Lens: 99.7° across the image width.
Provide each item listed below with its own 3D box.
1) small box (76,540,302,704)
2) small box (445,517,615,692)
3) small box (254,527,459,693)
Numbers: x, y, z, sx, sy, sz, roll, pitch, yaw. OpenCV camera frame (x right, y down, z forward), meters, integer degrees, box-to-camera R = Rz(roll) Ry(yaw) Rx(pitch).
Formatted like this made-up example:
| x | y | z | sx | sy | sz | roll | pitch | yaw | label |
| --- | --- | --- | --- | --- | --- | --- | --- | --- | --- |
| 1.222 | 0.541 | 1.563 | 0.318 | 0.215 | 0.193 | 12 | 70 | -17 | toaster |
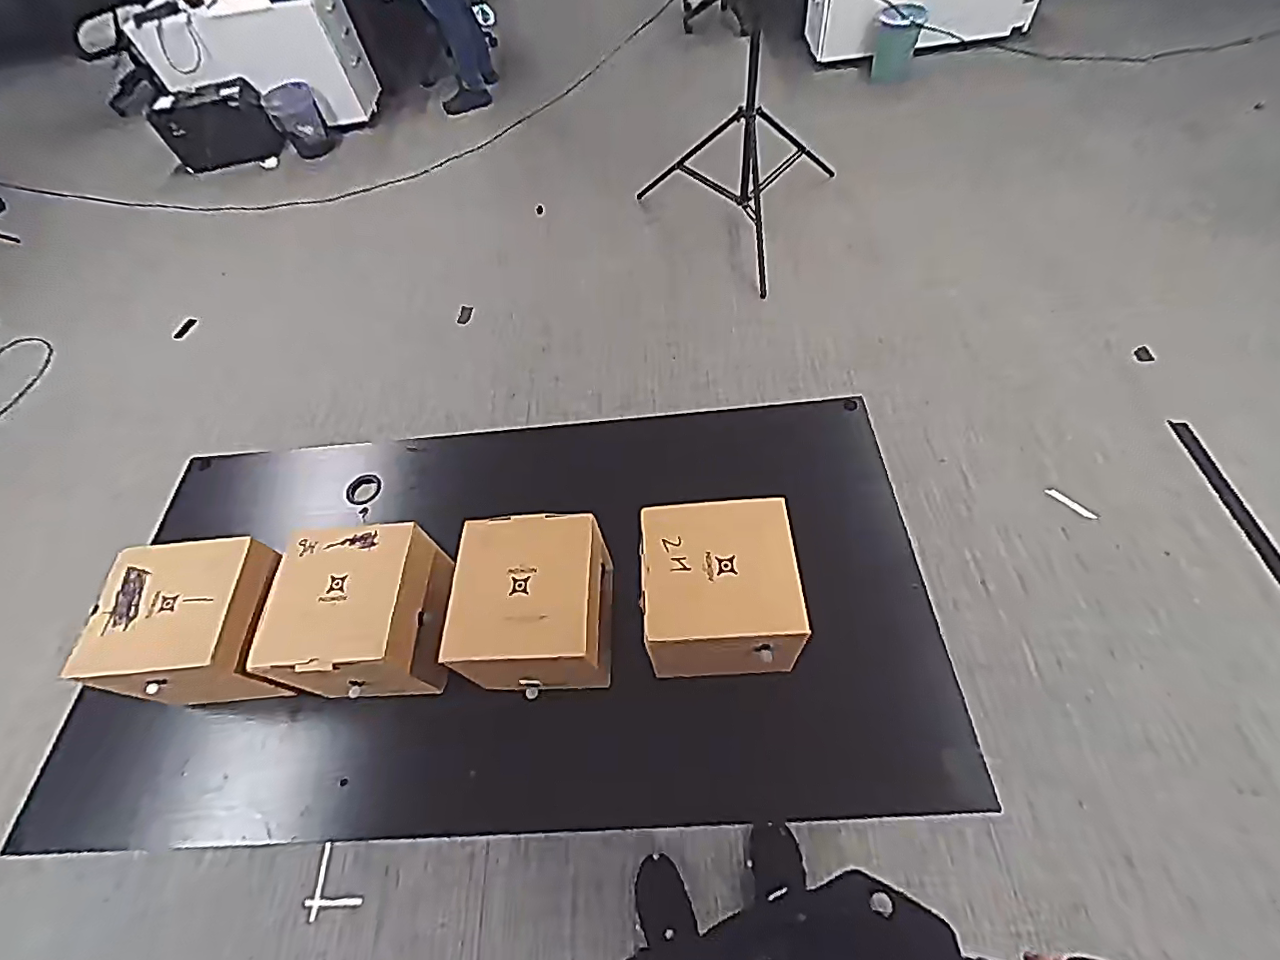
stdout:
| x | y | z | sx | sy | sz | roll | pitch | yaw | label |
| --- | --- | --- | --- | --- | --- | --- | --- | --- | --- |
| -0.567 | 0.198 | 0.732 | 0.179 | 0.176 | 0.168 | -6 | 58 | 2 | small box |
| -0.128 | 0.166 | 0.703 | 0.168 | 0.176 | 0.179 | -5 | 58 | 5 | small box |
| -0.353 | 0.181 | 0.719 | 0.168 | 0.176 | 0.179 | -4 | 58 | 5 | small box |
